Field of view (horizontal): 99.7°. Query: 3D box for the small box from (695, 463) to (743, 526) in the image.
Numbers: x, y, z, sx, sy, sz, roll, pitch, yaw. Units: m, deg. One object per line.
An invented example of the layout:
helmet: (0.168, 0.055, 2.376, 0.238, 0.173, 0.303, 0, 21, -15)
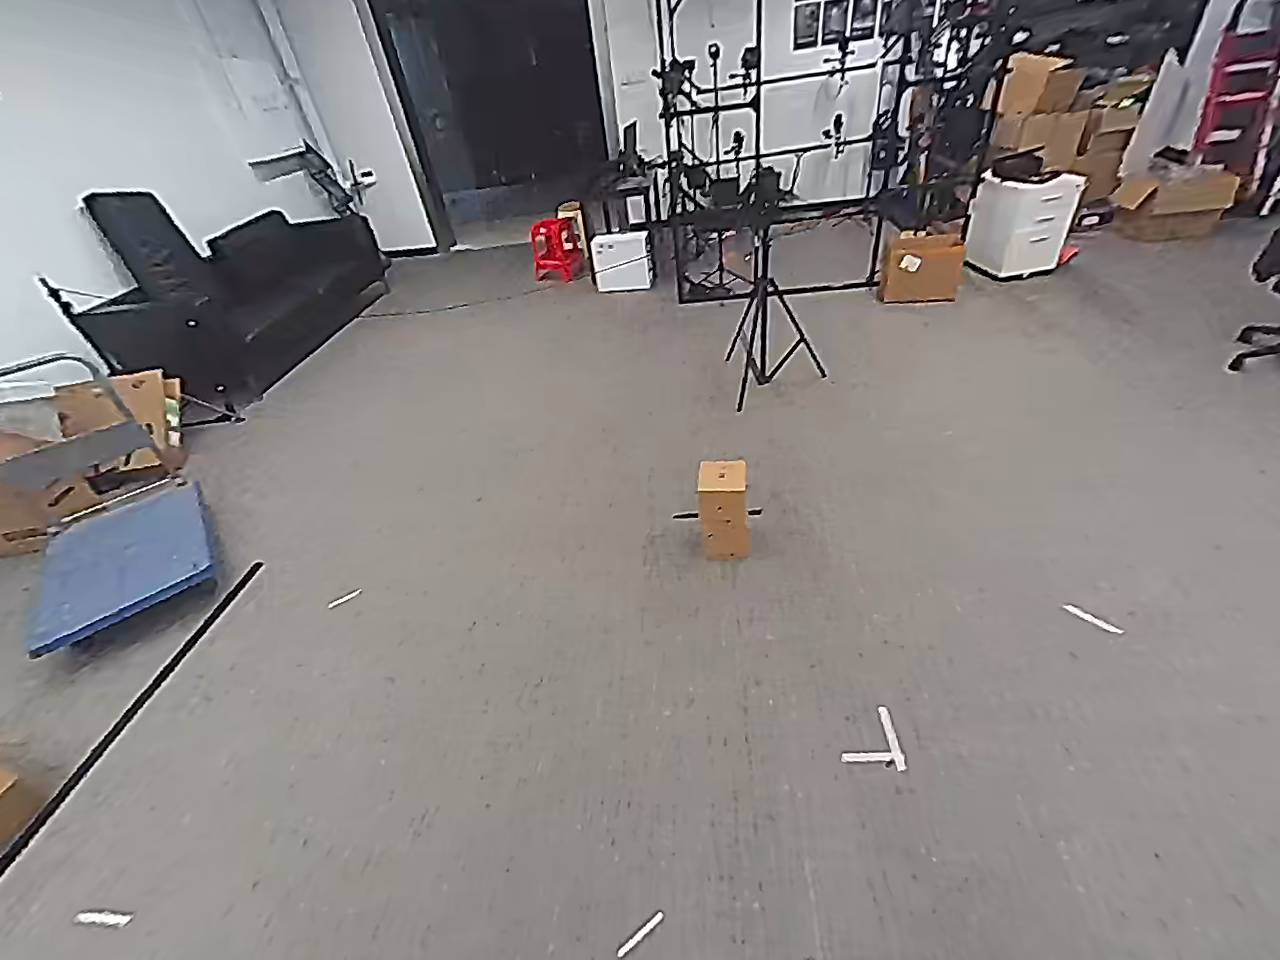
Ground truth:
small box: (0.293, 0.055, 1.976, 0.168, 0.176, 0.179, 0, 37, 11)
